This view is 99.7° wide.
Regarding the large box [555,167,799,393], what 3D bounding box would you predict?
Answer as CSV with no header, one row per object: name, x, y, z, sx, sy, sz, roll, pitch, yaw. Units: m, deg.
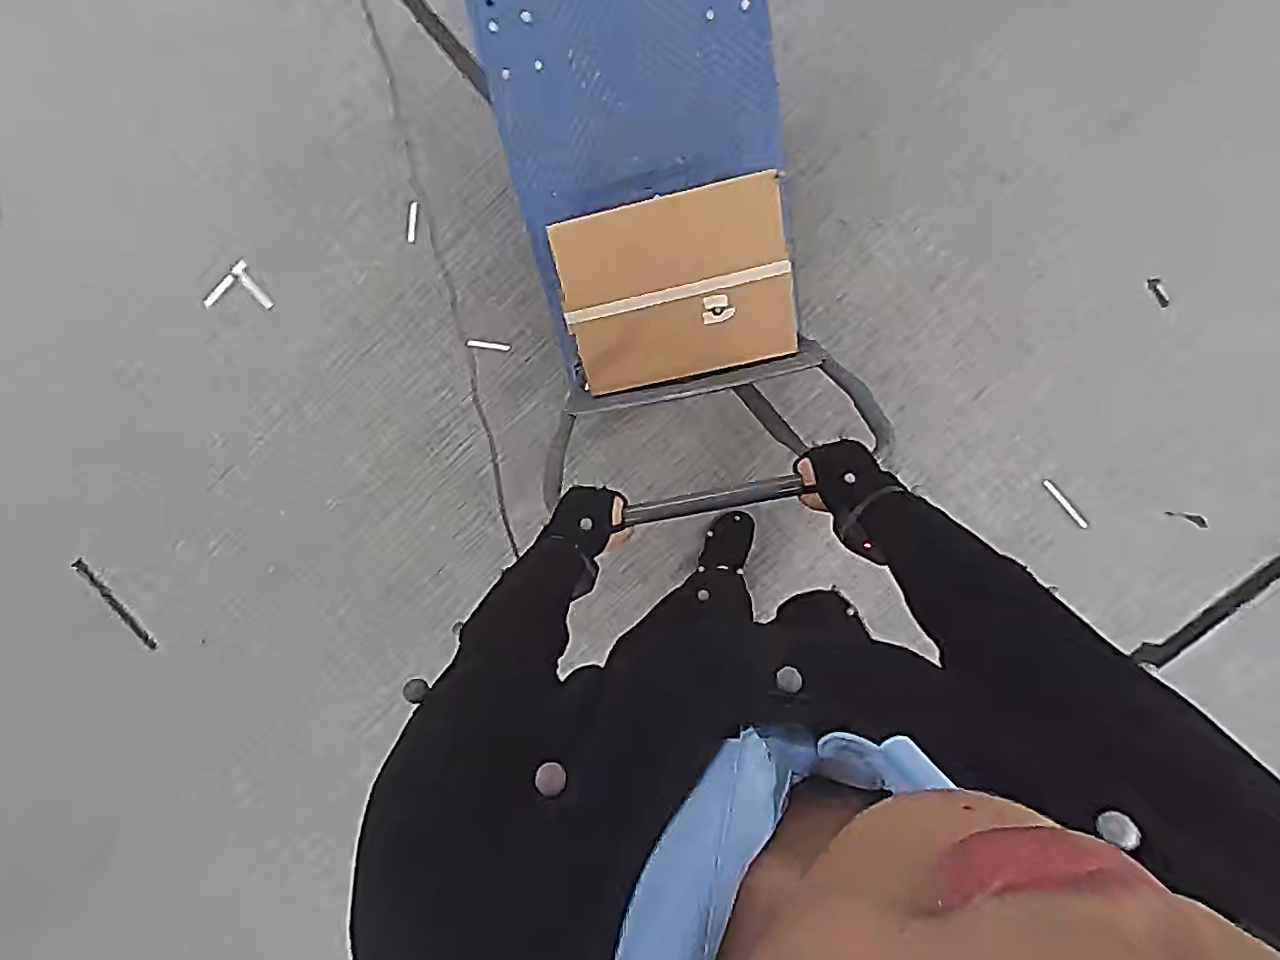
large box,0.076,-0.406,1.129,0.408,0.320,0.320,-12,113,6
